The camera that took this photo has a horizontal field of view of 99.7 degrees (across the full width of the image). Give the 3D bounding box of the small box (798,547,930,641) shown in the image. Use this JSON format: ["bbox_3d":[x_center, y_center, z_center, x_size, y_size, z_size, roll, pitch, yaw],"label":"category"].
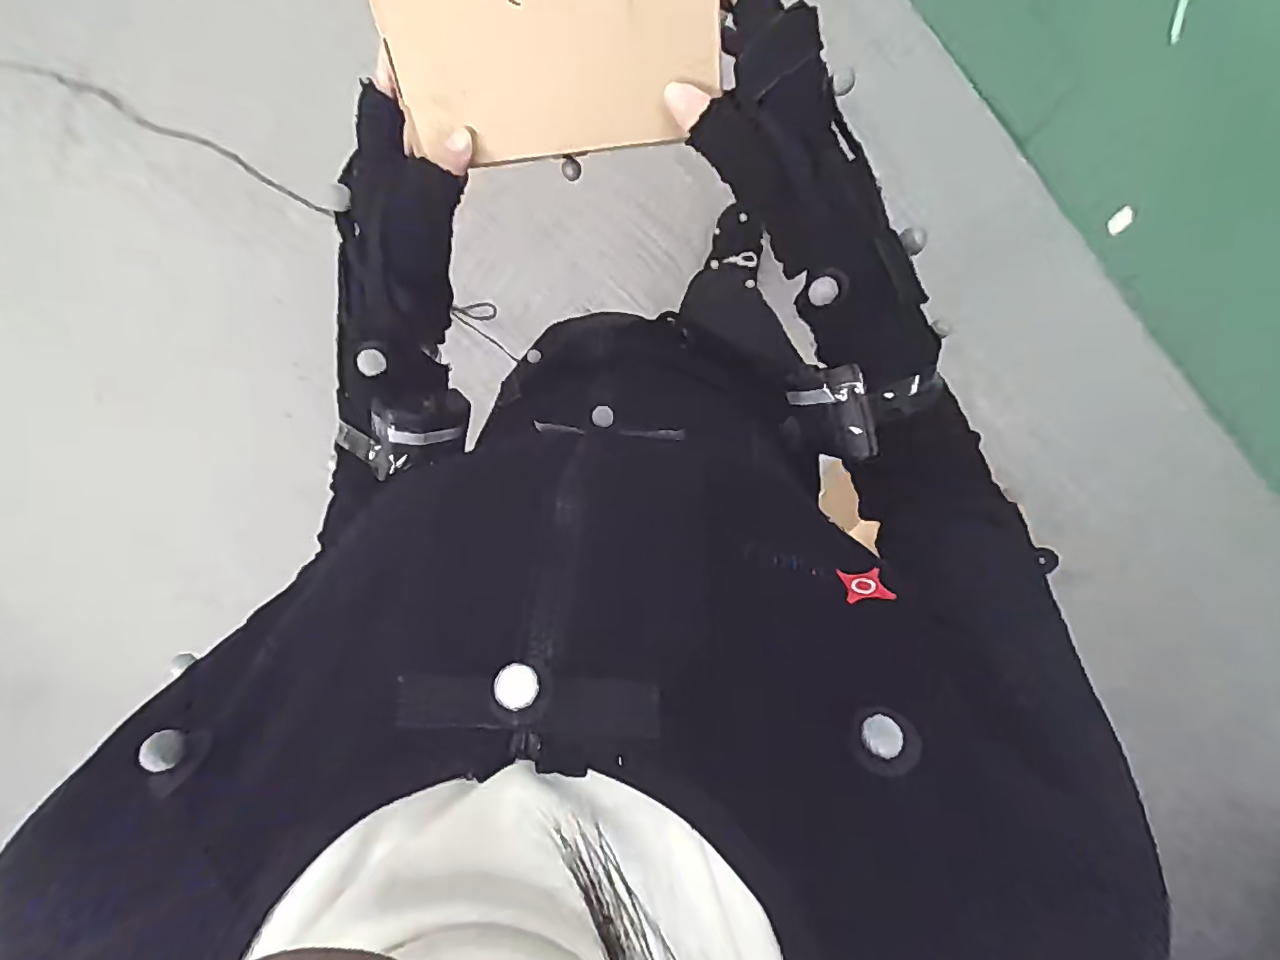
[{"bbox_3d":[0.448,0.274,1.119,0.168,0.176,0.179,42,107,-10],"label":"small box"}]

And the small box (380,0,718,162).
[{"bbox_3d":[-0.050,-0.305,0.340,0.179,0.176,0.168,-7,121,4],"label":"small box"}]
